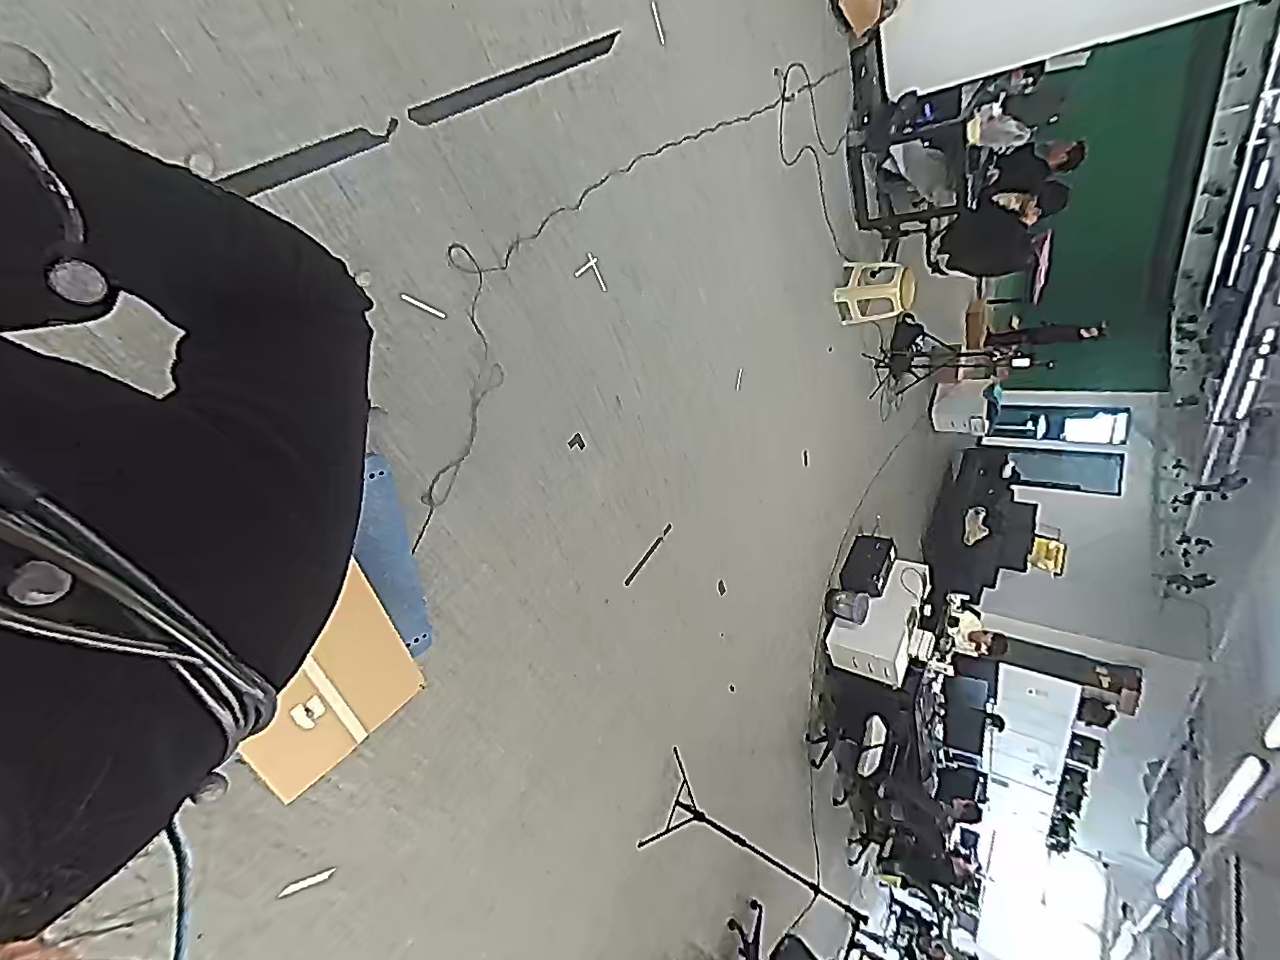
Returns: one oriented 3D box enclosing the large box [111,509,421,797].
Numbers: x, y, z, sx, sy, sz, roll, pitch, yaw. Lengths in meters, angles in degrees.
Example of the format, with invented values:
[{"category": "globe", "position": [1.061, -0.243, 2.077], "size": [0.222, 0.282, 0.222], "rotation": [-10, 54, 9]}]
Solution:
[{"category": "large box", "position": [-0.728, 0.322, 1.087], "size": [0.320, 0.320, 0.408], "rotation": [-39, 126, -39]}]
